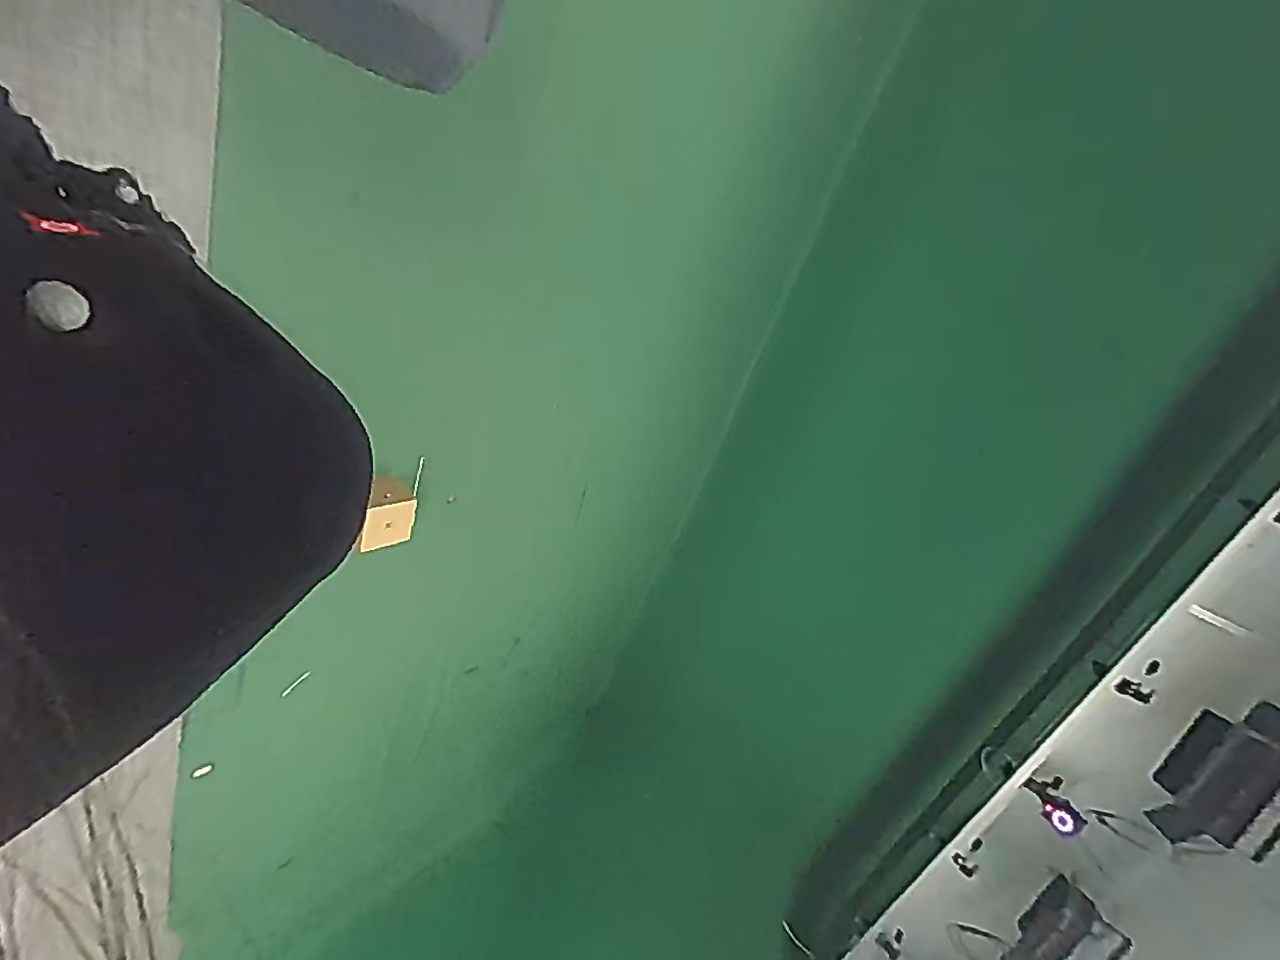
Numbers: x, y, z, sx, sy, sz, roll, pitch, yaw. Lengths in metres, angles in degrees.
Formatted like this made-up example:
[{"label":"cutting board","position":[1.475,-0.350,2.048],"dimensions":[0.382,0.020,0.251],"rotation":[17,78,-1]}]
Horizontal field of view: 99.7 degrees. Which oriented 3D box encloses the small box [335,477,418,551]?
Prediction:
[{"label":"small box","position":[-0.861,0.103,1.766],"dimensions":[0.179,0.176,0.168],"rotation":[-15,131,-53]}]
